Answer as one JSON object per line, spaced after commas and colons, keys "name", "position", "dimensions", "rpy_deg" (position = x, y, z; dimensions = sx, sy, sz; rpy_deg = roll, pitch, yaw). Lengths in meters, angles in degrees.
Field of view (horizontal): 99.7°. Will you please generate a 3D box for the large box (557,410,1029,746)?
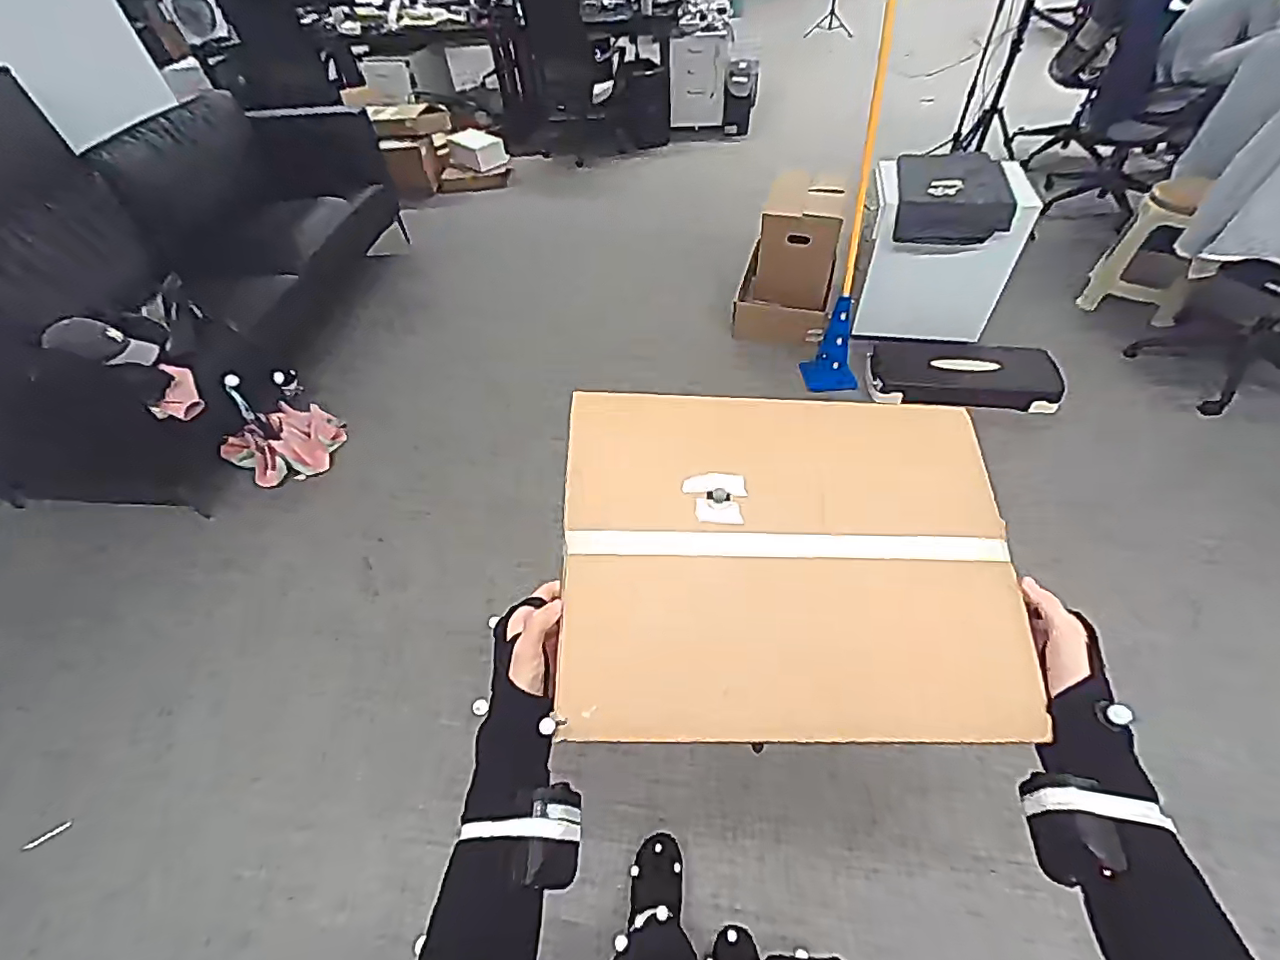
{"name": "large box", "position": [0.125, 0.128, 0.637], "dimensions": [0.408, 0.320, 0.320], "rpy_deg": [1, 67, -2]}
